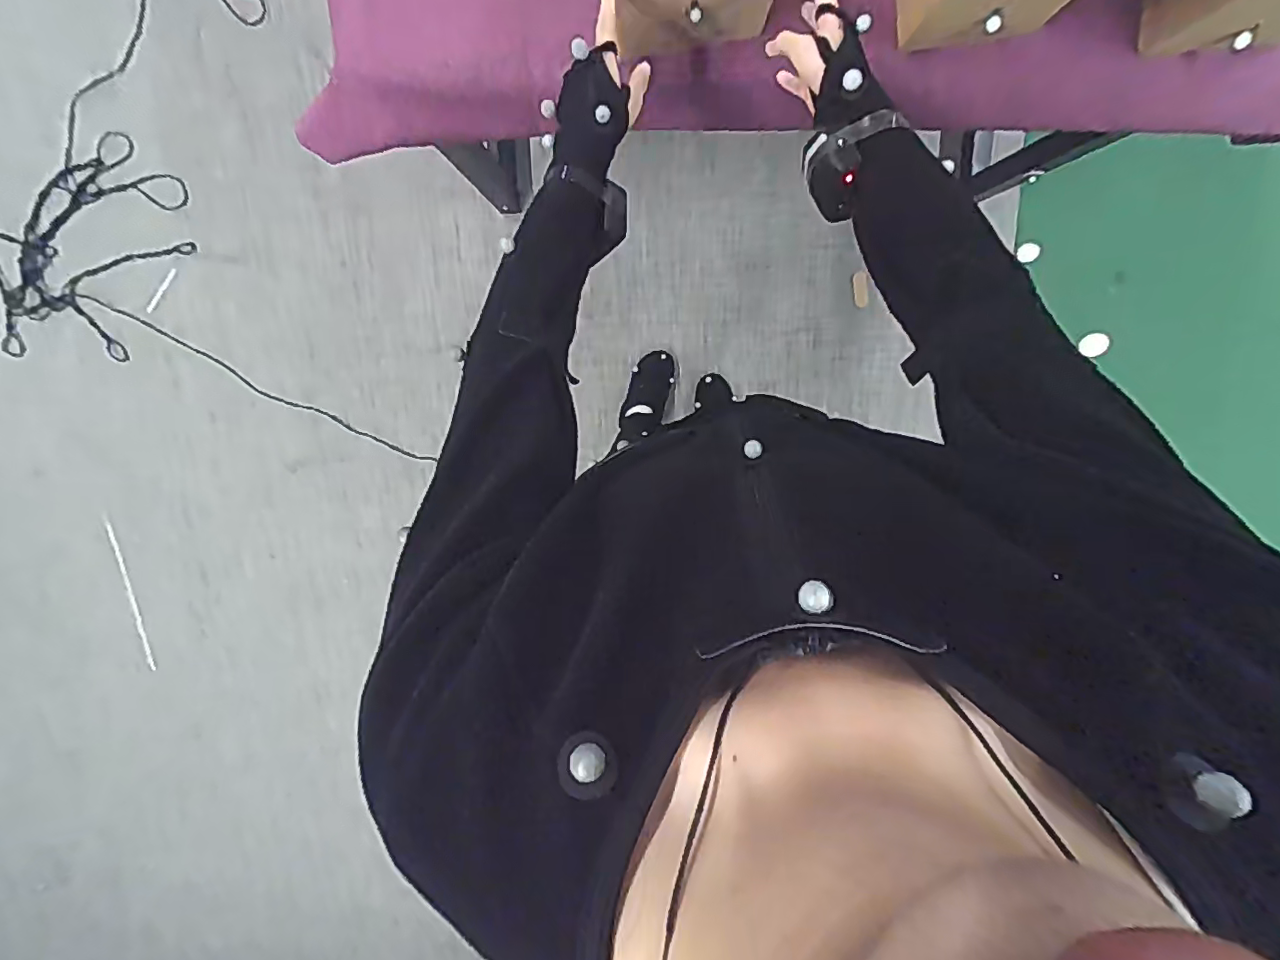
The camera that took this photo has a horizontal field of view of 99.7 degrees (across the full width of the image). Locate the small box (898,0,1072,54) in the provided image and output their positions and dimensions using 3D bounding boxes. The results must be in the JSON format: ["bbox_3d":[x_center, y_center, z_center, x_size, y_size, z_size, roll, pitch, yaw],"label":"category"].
[{"bbox_3d":[0.380,-0.590,0.555,0.168,0.176,0.179,-7,102,3],"label":"small box"}]

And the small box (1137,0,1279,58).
[{"bbox_3d":[0.678,-0.574,0.554,0.179,0.176,0.168,-5,102,2],"label":"small box"}]
